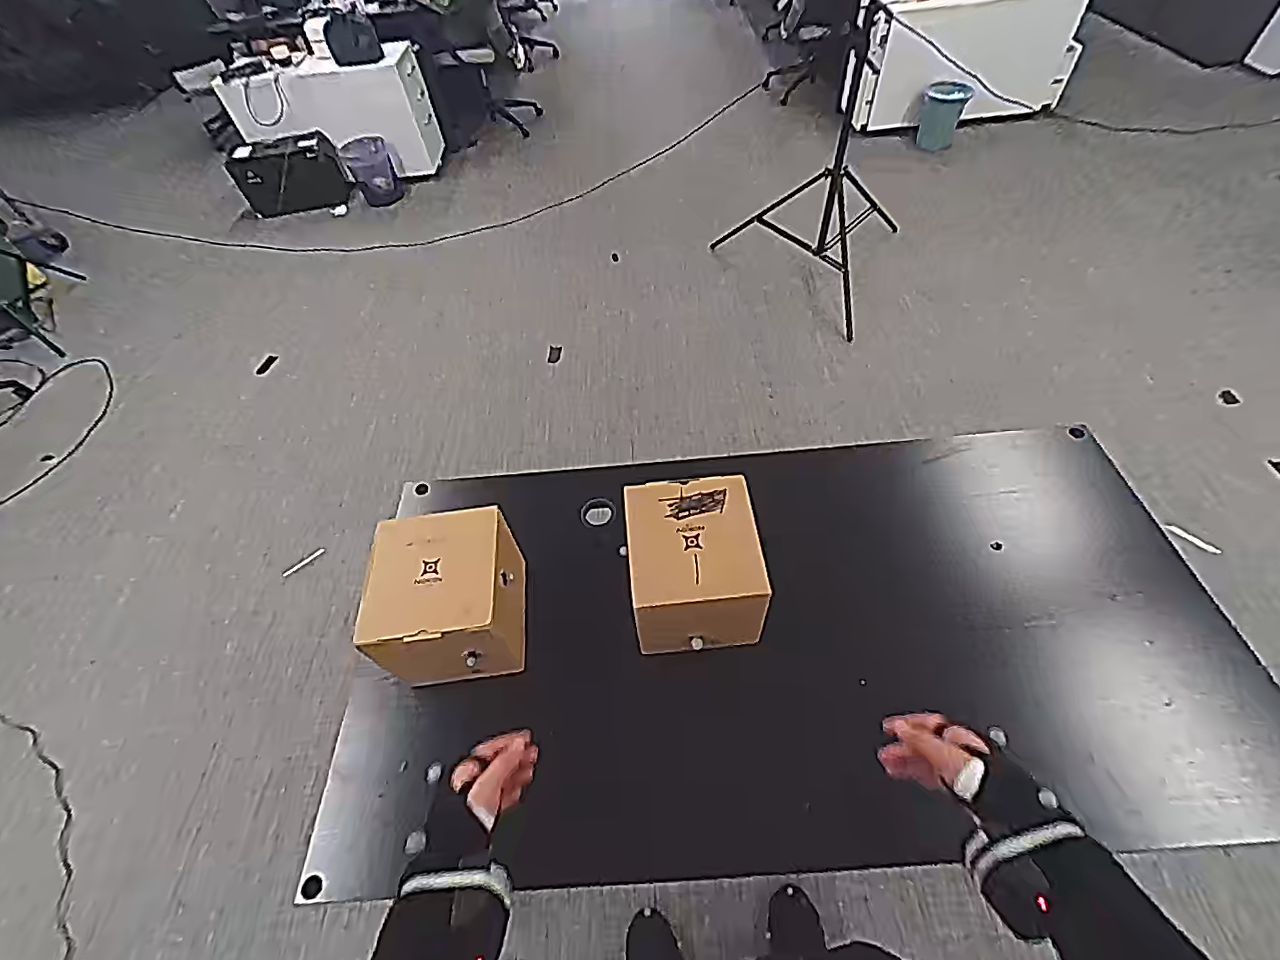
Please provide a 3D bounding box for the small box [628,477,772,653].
[{"bbox_3d":[0.072,0.119,0.739,0.168,0.176,0.179,-6,54,1],"label":"small box"}]

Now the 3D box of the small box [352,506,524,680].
[{"bbox_3d":[-0.257,0.160,0.737,0.168,0.176,0.179,-7,52,-2],"label":"small box"}]
